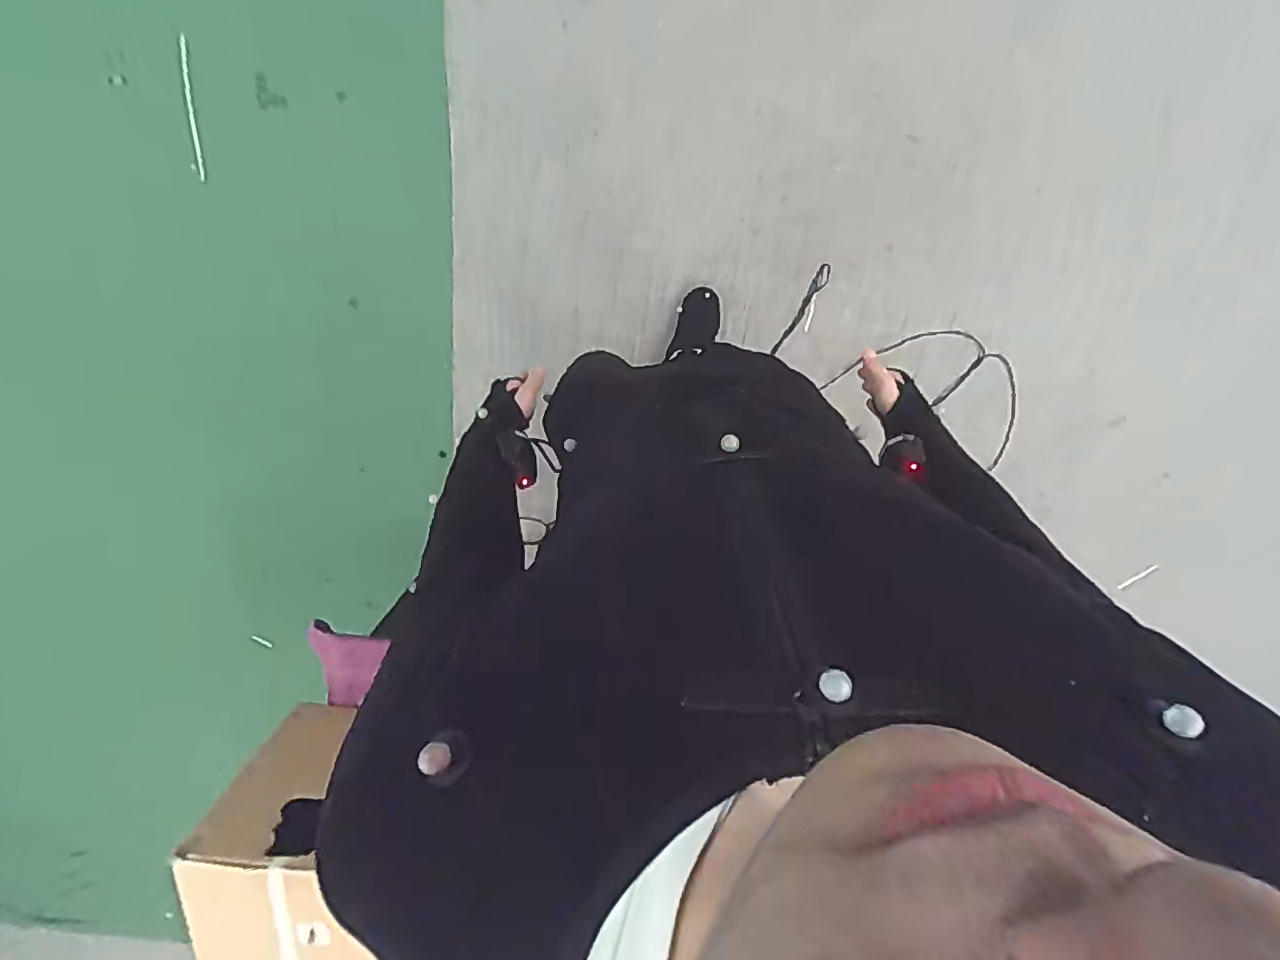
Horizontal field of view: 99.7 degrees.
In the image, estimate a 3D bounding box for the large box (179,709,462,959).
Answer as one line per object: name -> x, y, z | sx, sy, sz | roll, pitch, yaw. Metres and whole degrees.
large box -> -0.528, 0.695, 0.985 | 0.320, 0.320, 0.408 | 5, 109, -2
